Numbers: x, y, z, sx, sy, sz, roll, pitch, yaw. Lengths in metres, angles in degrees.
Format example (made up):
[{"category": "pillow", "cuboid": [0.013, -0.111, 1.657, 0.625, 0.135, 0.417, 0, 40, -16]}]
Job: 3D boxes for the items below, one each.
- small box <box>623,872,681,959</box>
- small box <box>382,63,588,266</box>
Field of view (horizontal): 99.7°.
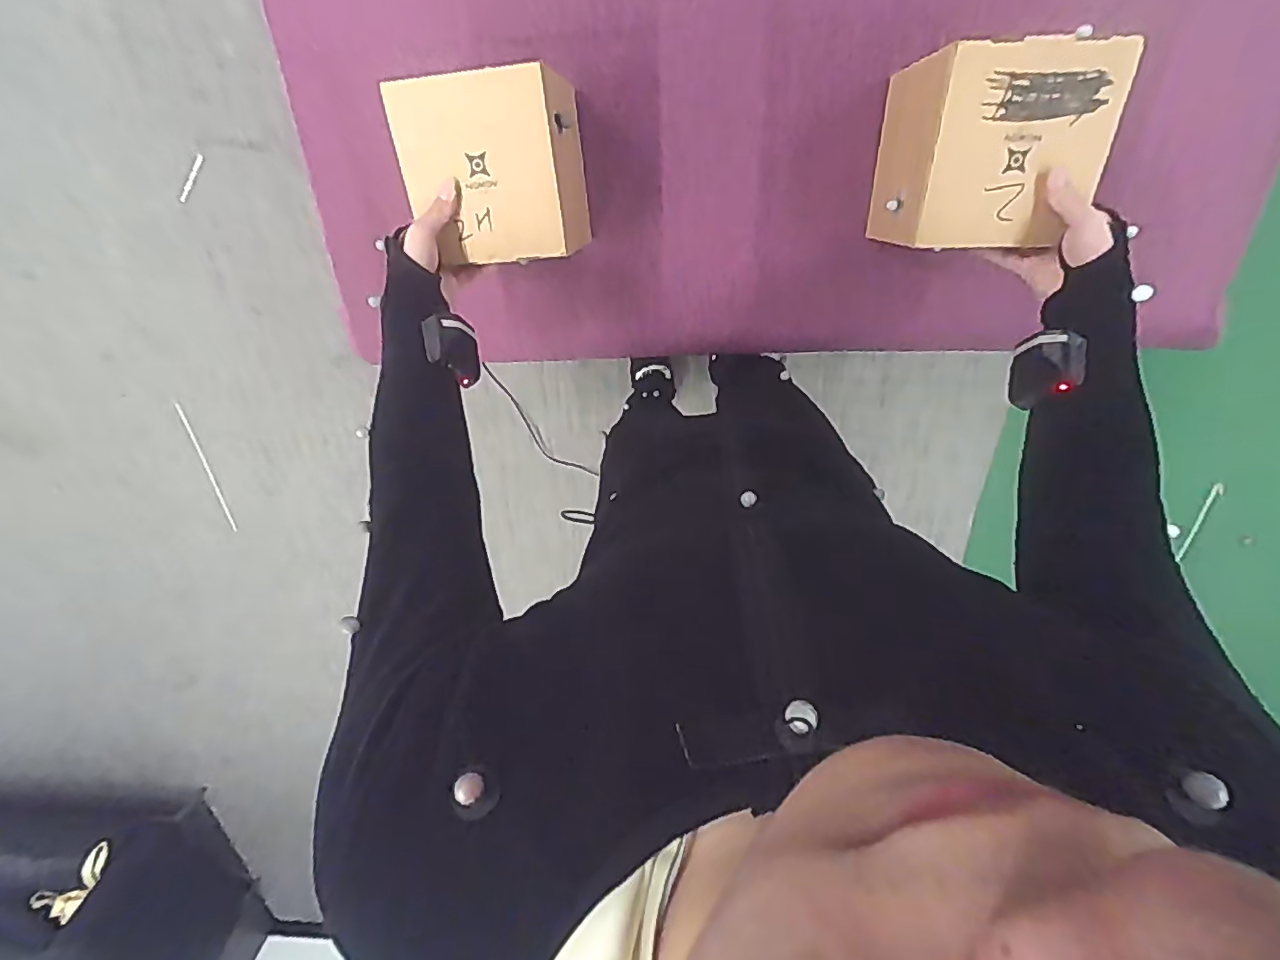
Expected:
[{"category": "small box", "cuboid": [0.042, 1.422, 1.765, 0.168, 0.176, 0.179, 9, 118, 2]}, {"category": "small box", "cuboid": [-0.163, -0.359, 0.636, 0.168, 0.176, 0.179, -2, 119, 8]}]
